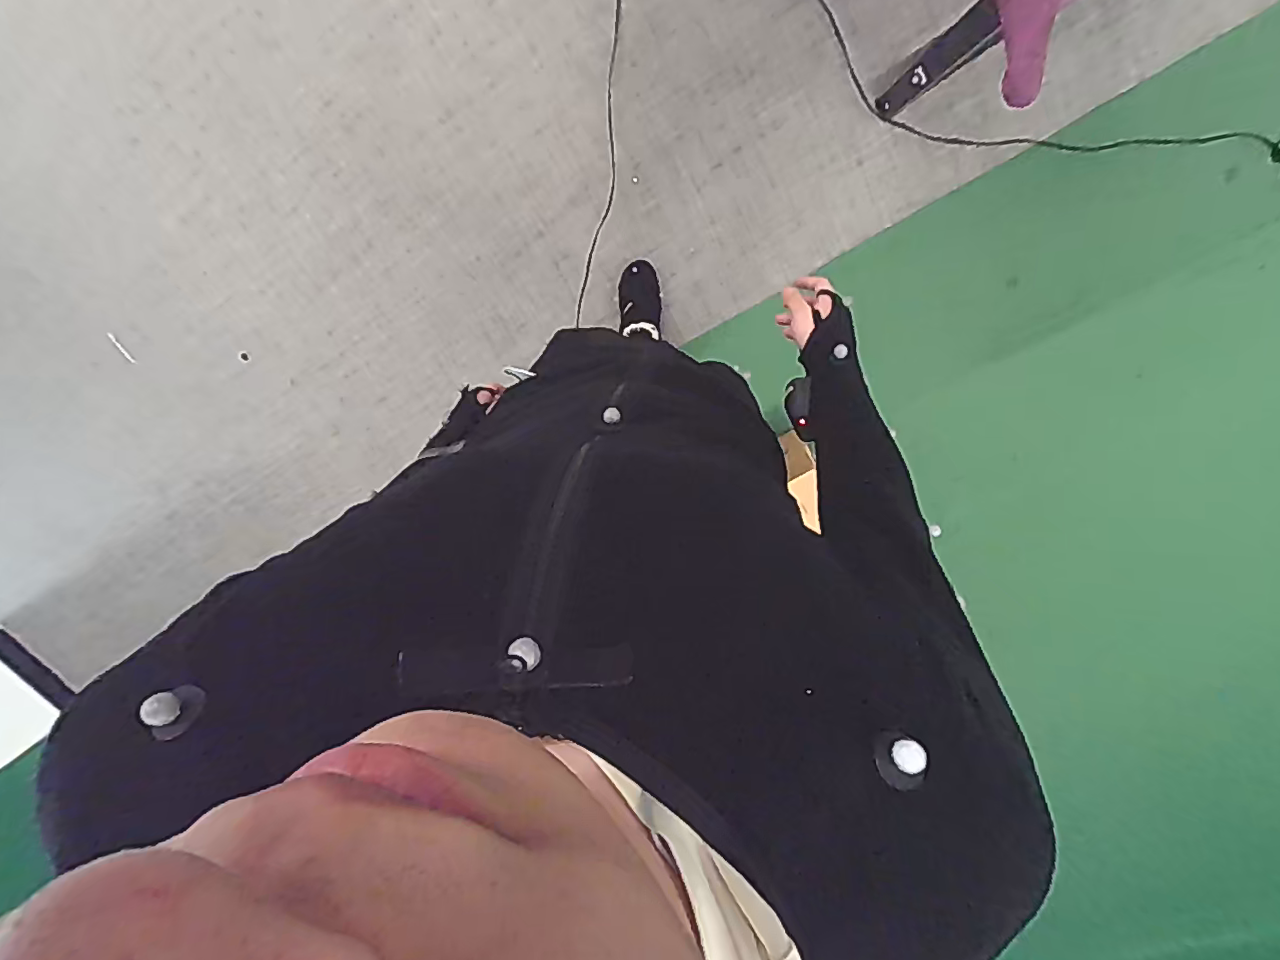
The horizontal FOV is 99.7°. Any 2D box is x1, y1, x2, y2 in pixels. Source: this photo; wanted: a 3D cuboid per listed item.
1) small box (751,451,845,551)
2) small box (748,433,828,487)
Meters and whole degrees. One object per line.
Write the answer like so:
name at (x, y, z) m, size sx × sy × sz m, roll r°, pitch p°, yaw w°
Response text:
small box at (0.400, 0.050, 1.408) m, size 0.179 × 0.176 × 0.168 m, roll -31°, pitch 105°, yaw 16°
small box at (0.422, -0.013, 1.557) m, size 0.179 × 0.176 × 0.168 m, roll -27°, pitch 106°, yaw 15°
